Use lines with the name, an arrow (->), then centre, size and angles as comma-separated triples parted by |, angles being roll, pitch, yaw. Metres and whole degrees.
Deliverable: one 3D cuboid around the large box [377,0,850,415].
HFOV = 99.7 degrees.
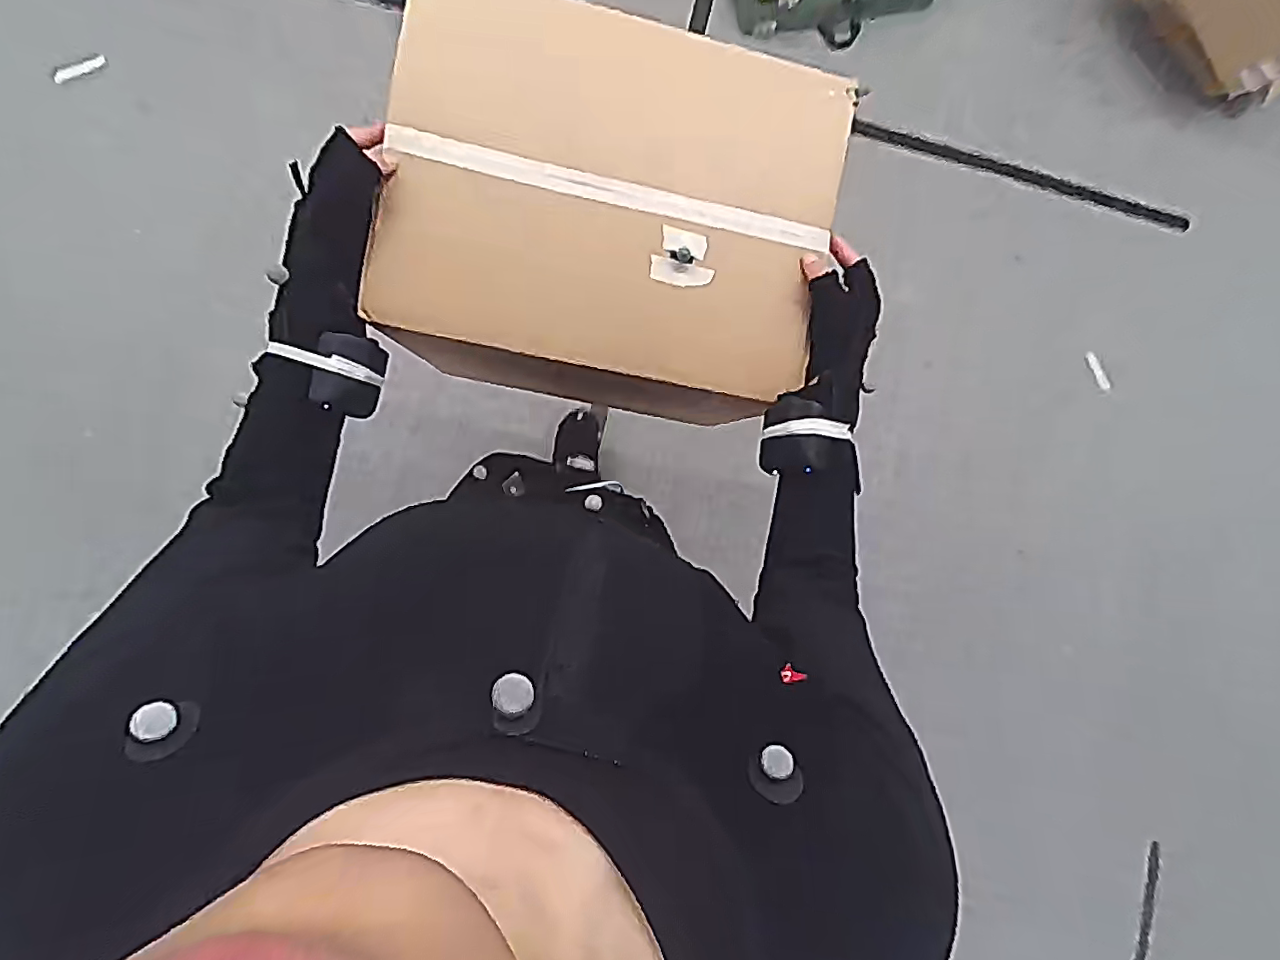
large box -> -0.036, -0.271, 0.643 | 0.408, 0.320, 0.320 | 10, 92, -9
